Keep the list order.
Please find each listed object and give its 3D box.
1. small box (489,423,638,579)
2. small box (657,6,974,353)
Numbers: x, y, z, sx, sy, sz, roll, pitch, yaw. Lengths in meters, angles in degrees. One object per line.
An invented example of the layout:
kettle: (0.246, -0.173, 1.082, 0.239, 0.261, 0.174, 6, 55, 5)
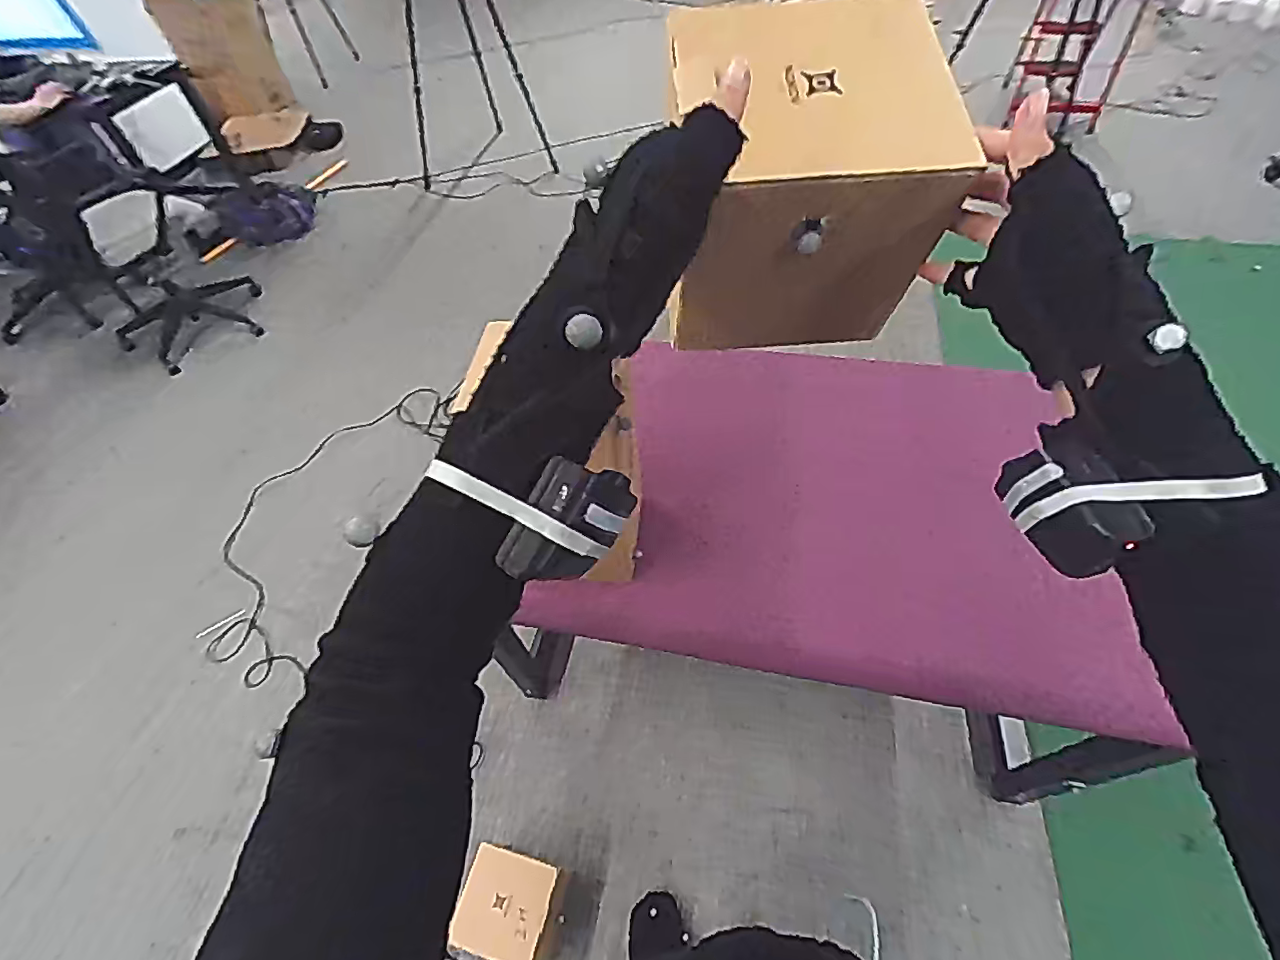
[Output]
small box: (-0.098, 0.035, 0.804, 0.179, 0.176, 0.168, 3, 52, 7)
small box: (0.107, -0.215, 0.417, 0.179, 0.176, 0.168, -3, 69, 0)
